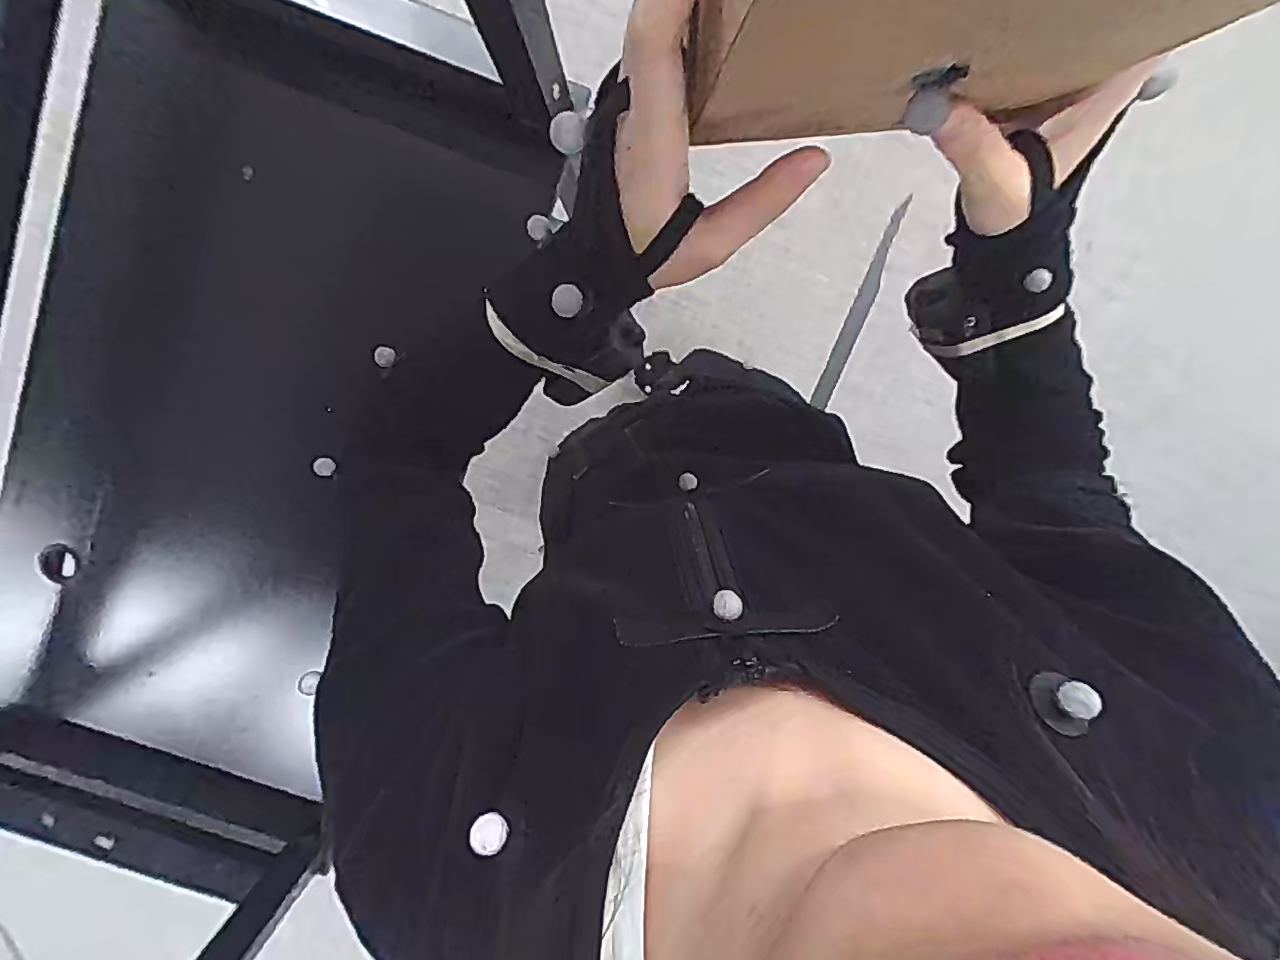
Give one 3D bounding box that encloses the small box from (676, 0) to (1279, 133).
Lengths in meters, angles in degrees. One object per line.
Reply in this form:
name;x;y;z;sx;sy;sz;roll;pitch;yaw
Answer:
small box;0.101;-0.223;0.166;0.168;0.176;0.179;-4;111;-2
